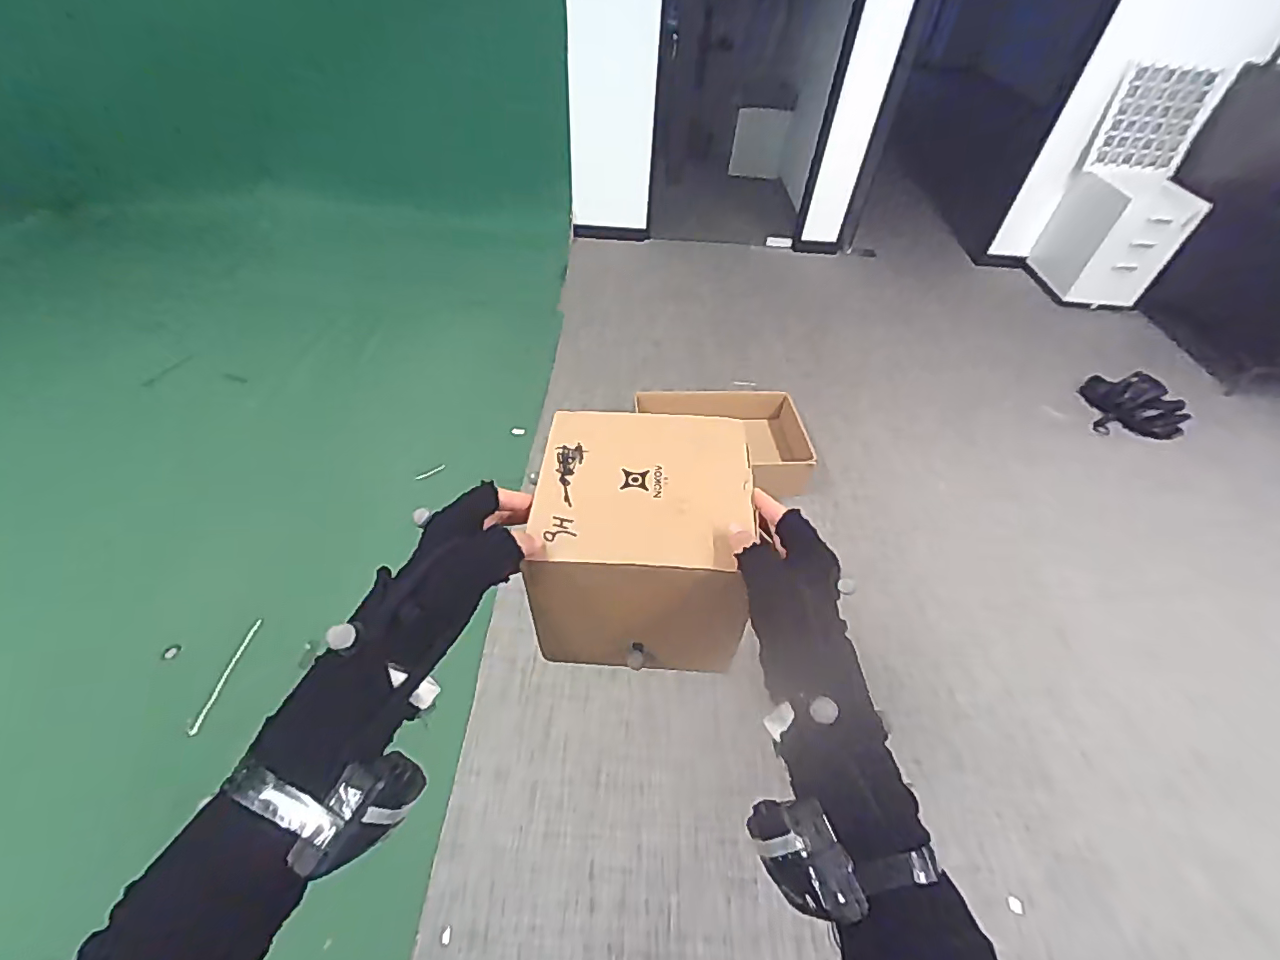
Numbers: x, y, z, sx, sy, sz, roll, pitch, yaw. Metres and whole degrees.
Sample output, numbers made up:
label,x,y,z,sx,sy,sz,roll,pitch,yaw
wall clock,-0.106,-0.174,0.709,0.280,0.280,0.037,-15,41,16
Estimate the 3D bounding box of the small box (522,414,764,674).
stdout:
label,x,y,z,sx,sy,sz,roll,pitch,yaw
small box,0.003,0.062,0.495,0.179,0.176,0.168,4,46,1
